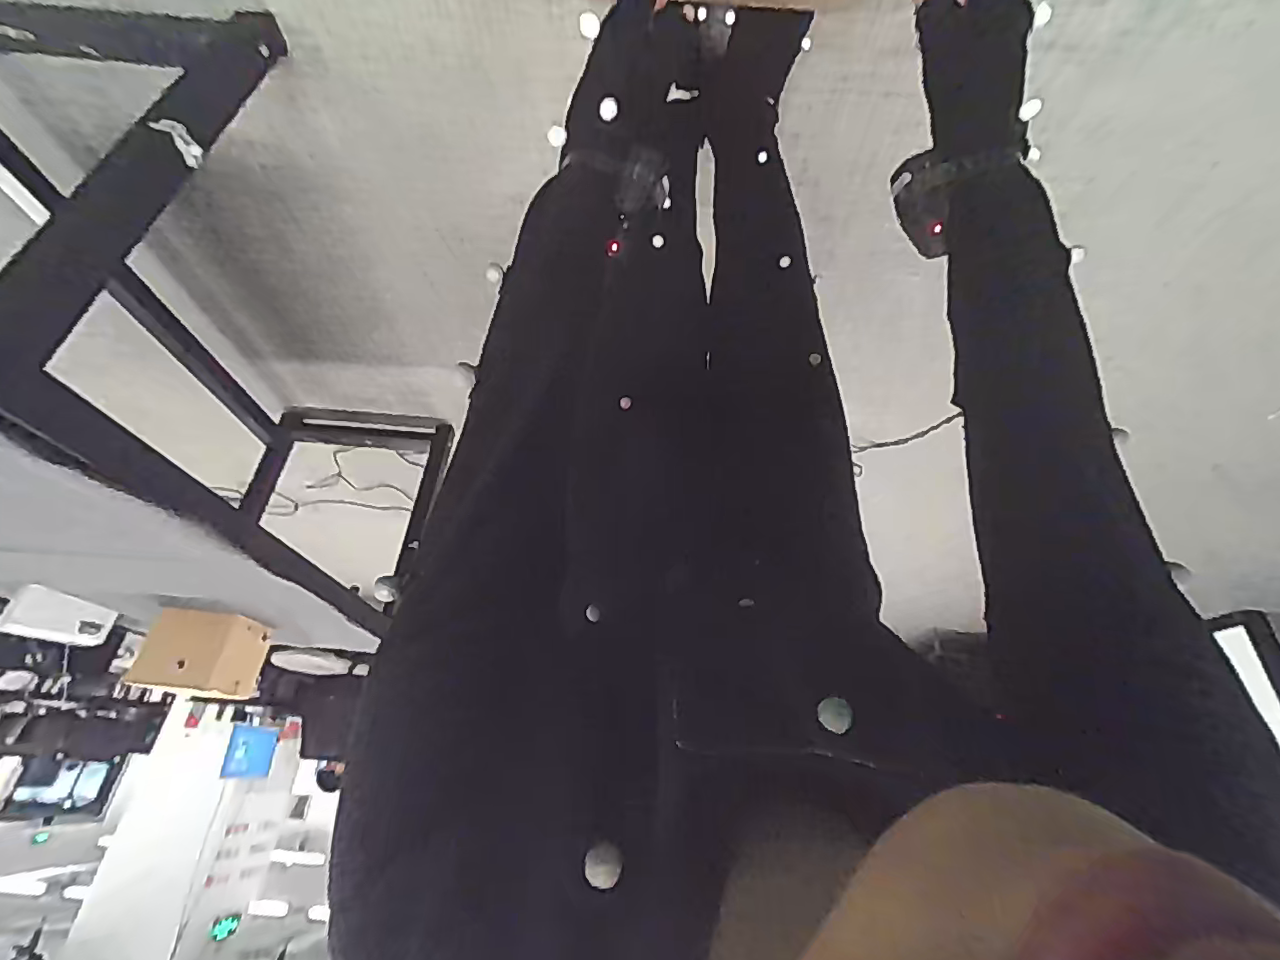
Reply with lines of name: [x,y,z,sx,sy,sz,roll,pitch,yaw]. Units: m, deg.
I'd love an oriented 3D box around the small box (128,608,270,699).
small box: [-1.000,0.402,1.252,0.179,0.176,0.168,6,150,0]
